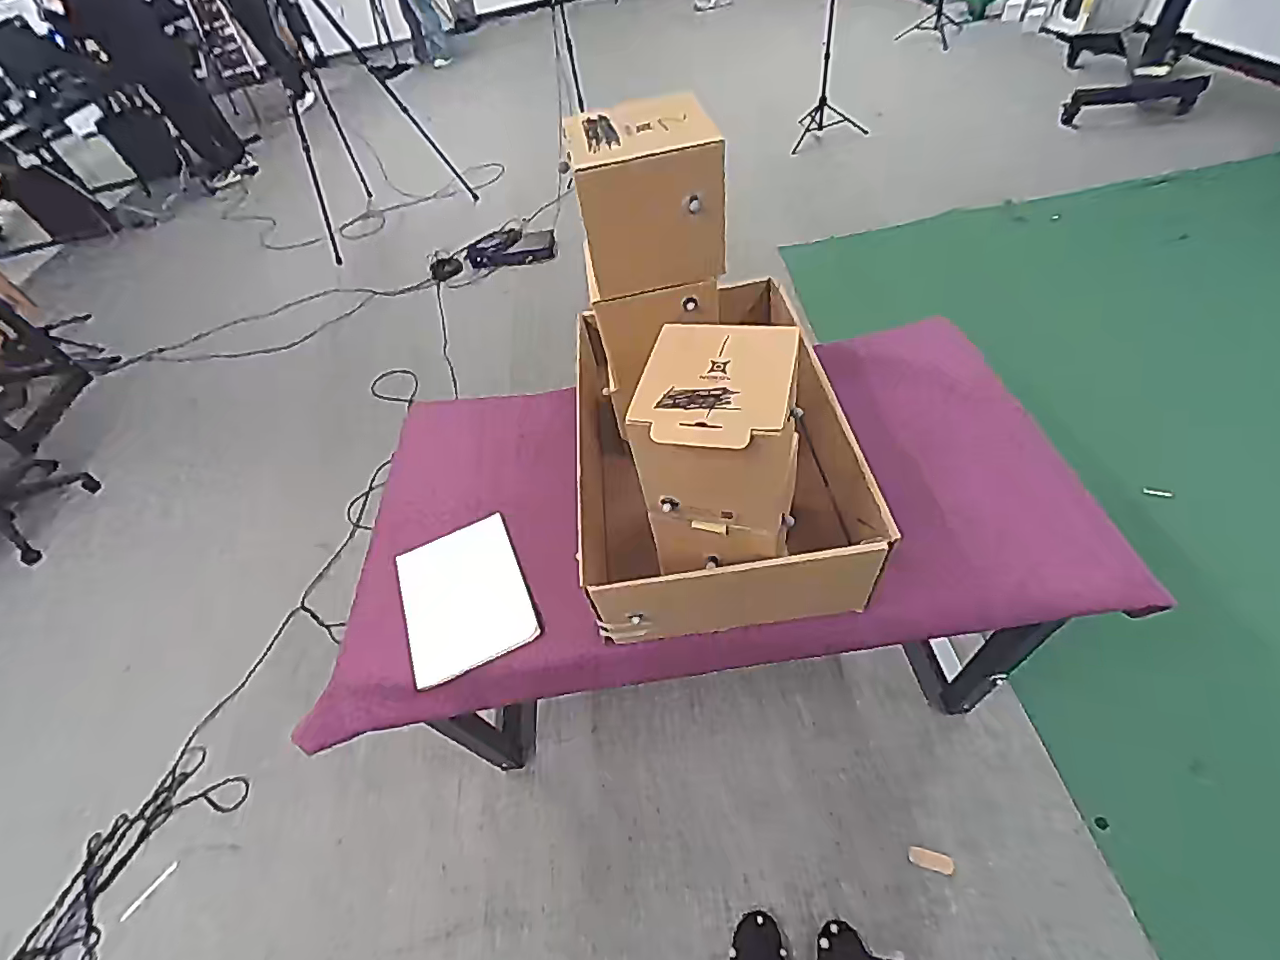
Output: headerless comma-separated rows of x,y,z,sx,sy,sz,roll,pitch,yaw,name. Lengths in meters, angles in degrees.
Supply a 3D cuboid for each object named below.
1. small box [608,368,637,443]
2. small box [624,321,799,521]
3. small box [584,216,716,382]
0.038,-0.177,0.966,0.168,0.176,0.179,-9,53,4,small box
0.096,-0.071,0.654,0.168,0.176,0.179,7,52,18,small box
0.020,-0.273,0.837,0.179,0.176,0.168,-11,52,2,small box
